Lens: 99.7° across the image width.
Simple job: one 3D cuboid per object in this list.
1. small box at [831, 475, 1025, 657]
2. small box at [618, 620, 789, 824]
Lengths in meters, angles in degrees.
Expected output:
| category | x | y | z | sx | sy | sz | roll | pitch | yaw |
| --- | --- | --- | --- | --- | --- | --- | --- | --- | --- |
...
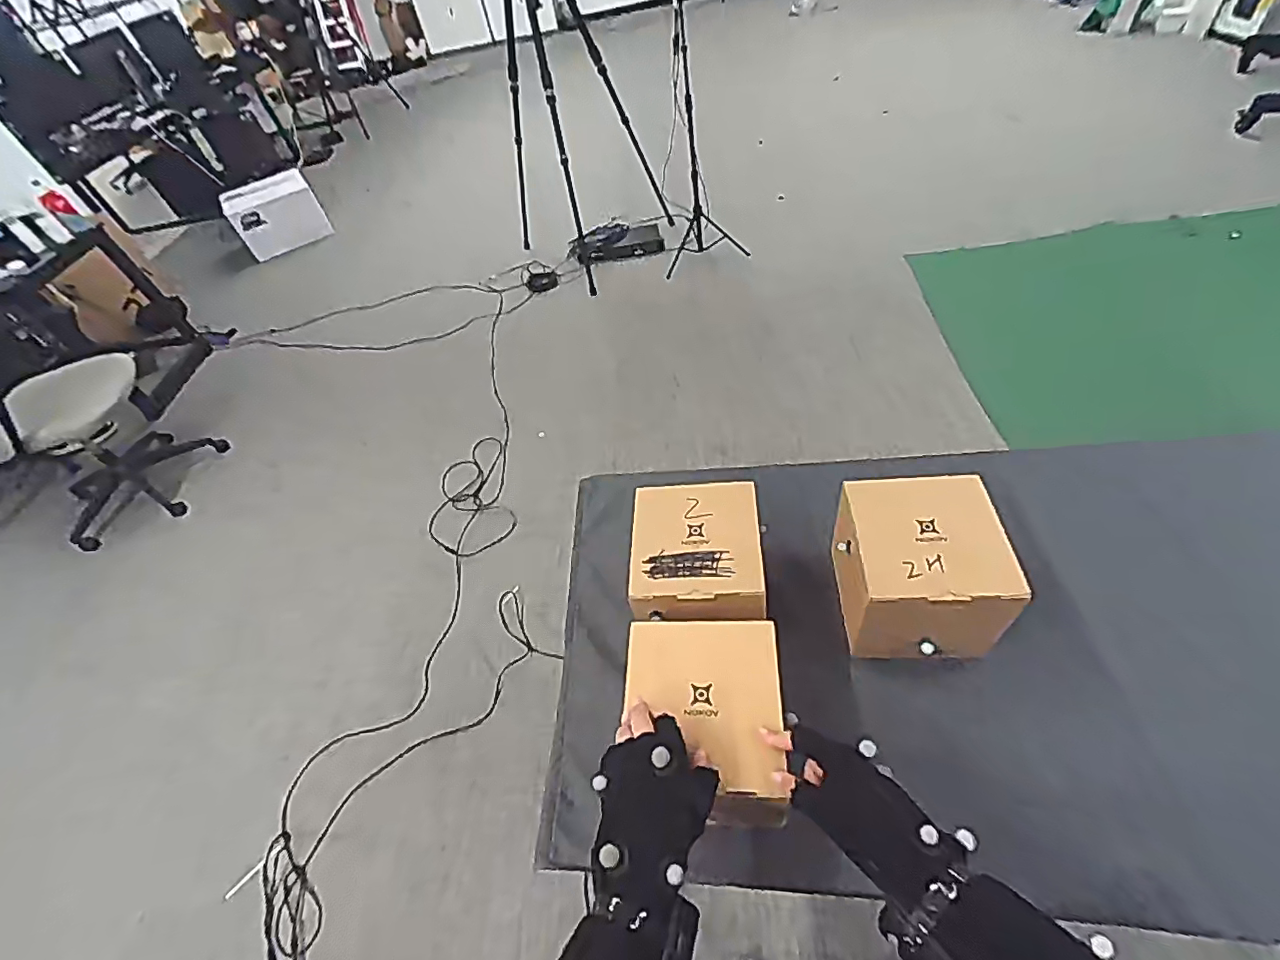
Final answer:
| category | x | y | z | sx | sy | sz | roll | pitch | yaw |
| --- | --- | --- | --- | --- | --- | --- | --- | --- | --- |
| small box | 0.354 | 0.114 | 0.709 | 0.168 | 0.176 | 0.179 | -3 | 50 | 10 |
| small box | 0.076 | 0.280 | 0.627 | 0.168 | 0.176 | 0.179 | -3 | 50 | 9 |
